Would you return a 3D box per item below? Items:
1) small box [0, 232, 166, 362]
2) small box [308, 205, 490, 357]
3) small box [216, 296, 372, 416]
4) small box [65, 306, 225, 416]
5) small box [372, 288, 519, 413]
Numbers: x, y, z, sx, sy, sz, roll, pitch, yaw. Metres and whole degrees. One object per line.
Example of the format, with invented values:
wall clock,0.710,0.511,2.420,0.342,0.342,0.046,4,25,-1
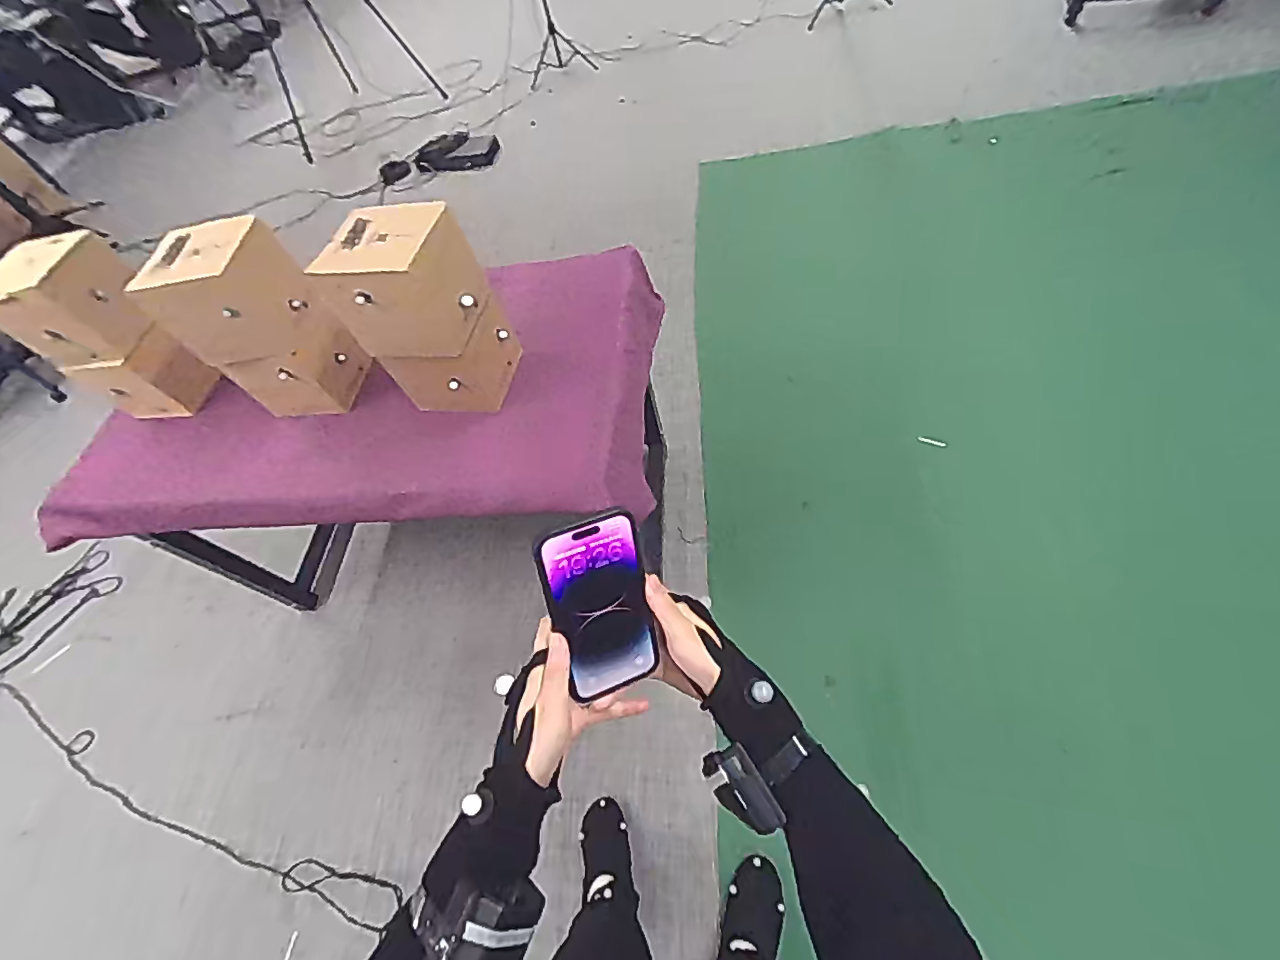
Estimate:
small box,-1.094,-0.346,1.054,0.168,0.176,0.179,-5,58,9
small box,-0.374,-0.315,0.875,0.179,0.176,0.168,4,59,14
small box,-0.684,-0.245,1.094,0.179,0.176,0.168,-1,57,12
small box,-1.064,-0.252,1.185,0.168,0.176,0.179,-1,58,12
small box,-0.351,-0.241,1.019,0.179,0.176,0.168,4,58,15
